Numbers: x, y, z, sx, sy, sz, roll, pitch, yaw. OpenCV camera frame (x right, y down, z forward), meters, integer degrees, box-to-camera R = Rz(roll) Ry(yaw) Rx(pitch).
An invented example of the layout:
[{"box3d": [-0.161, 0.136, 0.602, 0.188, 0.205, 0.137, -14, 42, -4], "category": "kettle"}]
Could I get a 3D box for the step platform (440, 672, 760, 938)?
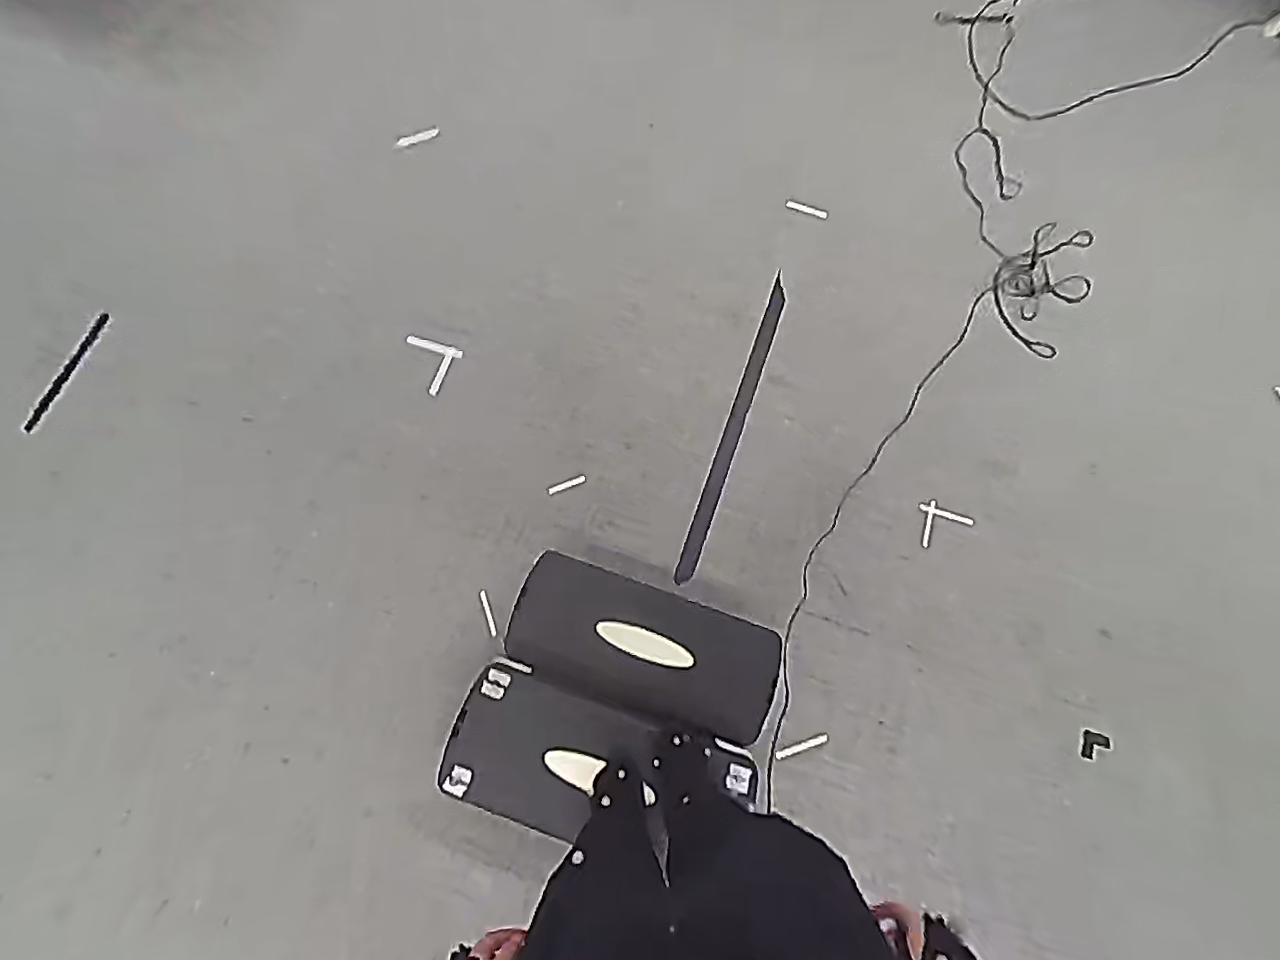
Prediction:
[{"box3d": [-0.084, 0.698, 1.210, 0.684, 0.204, 0.286, 23, 73, 7], "category": "step platform"}]
